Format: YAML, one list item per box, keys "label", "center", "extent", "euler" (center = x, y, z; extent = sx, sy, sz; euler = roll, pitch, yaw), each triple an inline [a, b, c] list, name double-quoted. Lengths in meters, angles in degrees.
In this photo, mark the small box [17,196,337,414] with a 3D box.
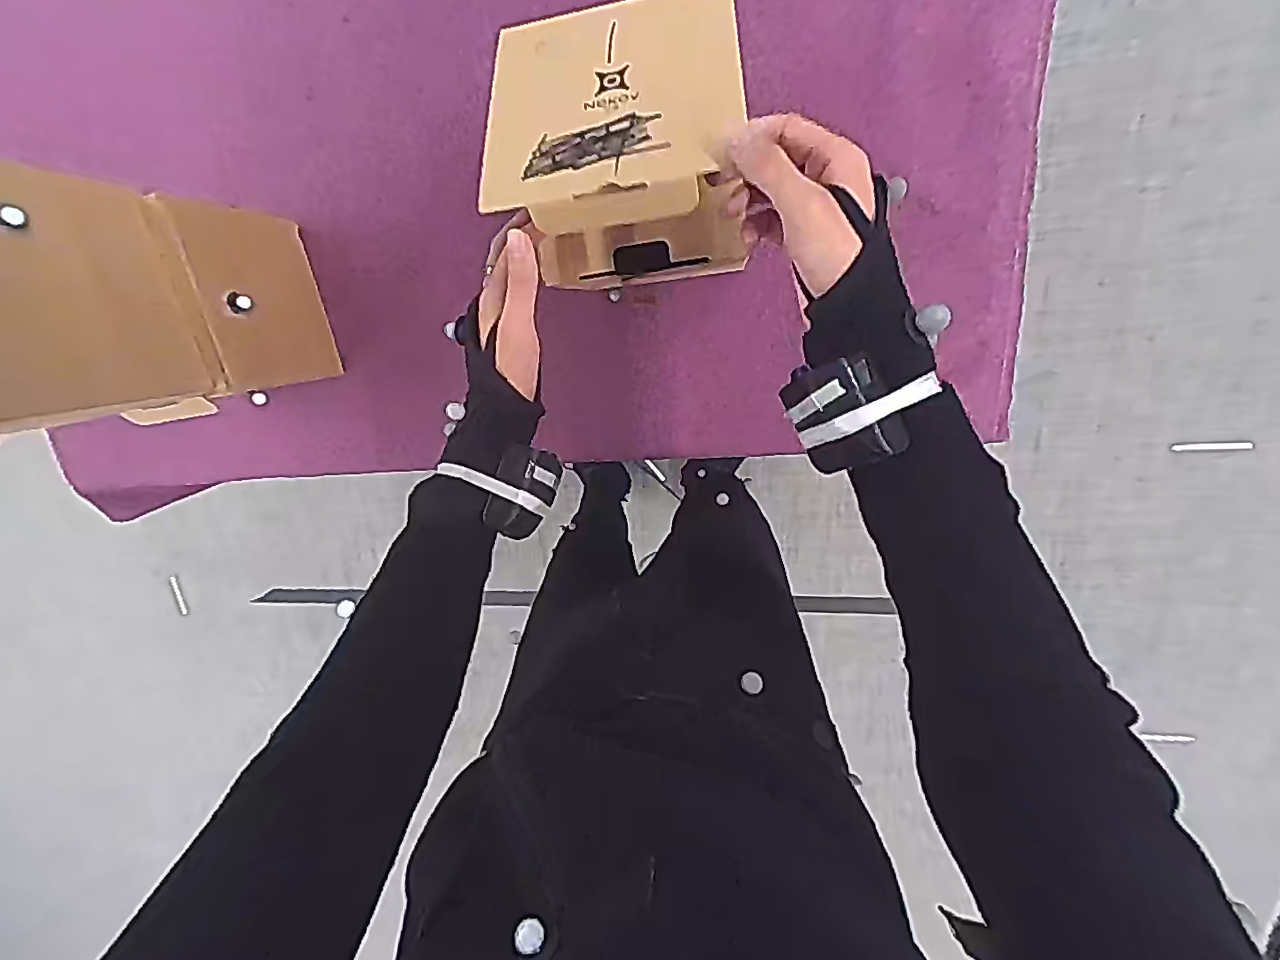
- label: "small box"
  center: [-0.463, -0.180, 0.575]
  extent: [0.168, 0.176, 0.179]
  euler: [-6, 106, 10]
